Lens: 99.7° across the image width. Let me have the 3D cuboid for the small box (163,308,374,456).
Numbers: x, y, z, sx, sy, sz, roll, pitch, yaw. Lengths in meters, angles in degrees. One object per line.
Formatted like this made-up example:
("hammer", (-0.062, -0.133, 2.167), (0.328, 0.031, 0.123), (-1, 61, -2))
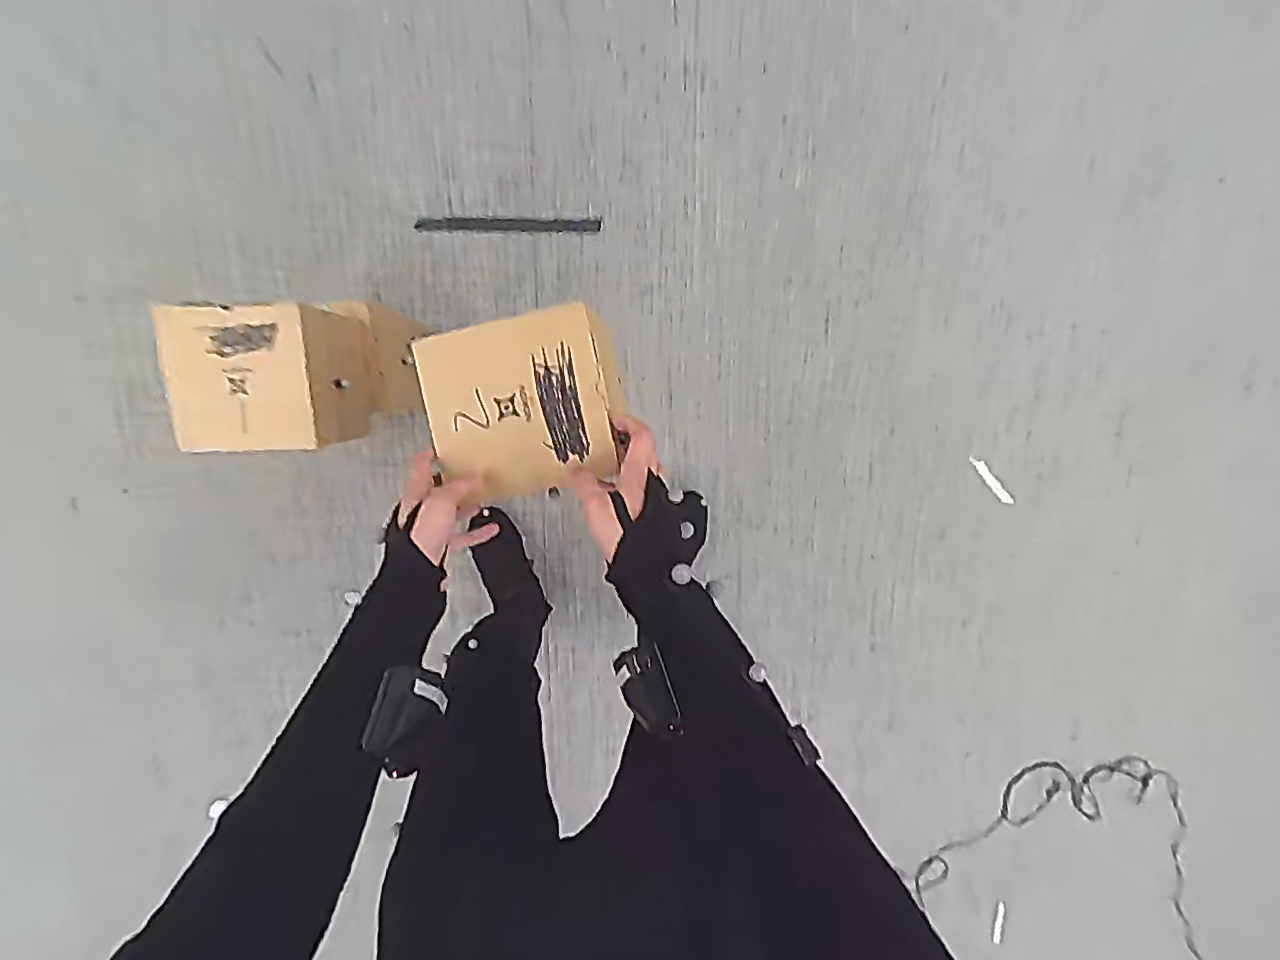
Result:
("small box", (-0.480, -0.130, 0.728), (0.168, 0.176, 0.179), (-1, 101, -4))

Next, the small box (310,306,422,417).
("small box", (-0.480, -0.184, 0.885), (0.179, 0.176, 0.168), (-5, 101, -4))

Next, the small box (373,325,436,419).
("small box", (-0.509, -0.210, 1.045), (0.168, 0.176, 0.179), (-4, 101, -4))
